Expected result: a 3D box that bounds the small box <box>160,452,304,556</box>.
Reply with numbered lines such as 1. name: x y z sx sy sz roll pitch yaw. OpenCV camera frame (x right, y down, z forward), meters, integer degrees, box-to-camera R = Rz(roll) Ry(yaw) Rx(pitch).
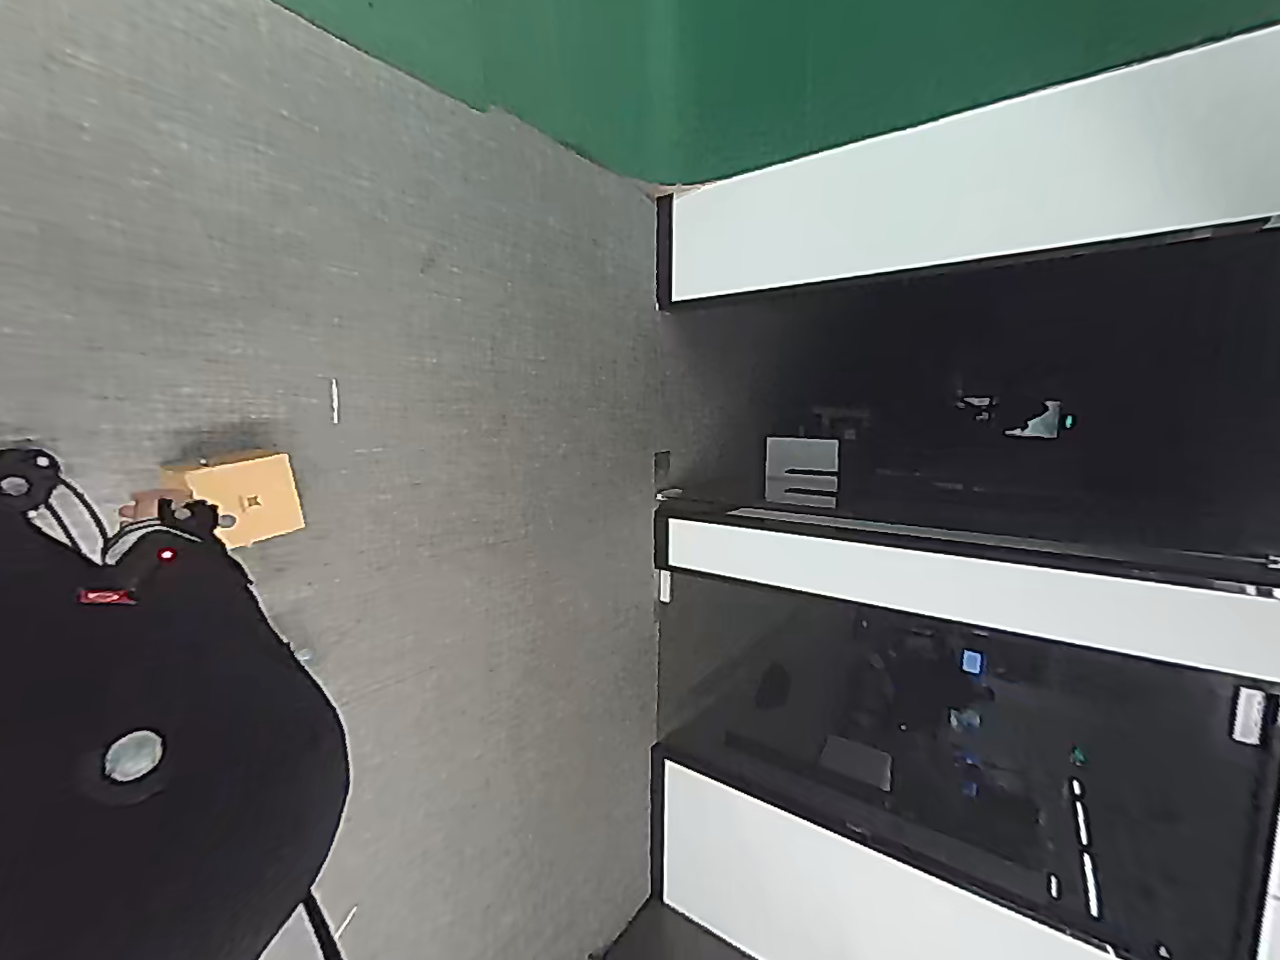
1. small box: -0.843 0.041 1.120 0.179 0.176 0.168 -23 113 -51
